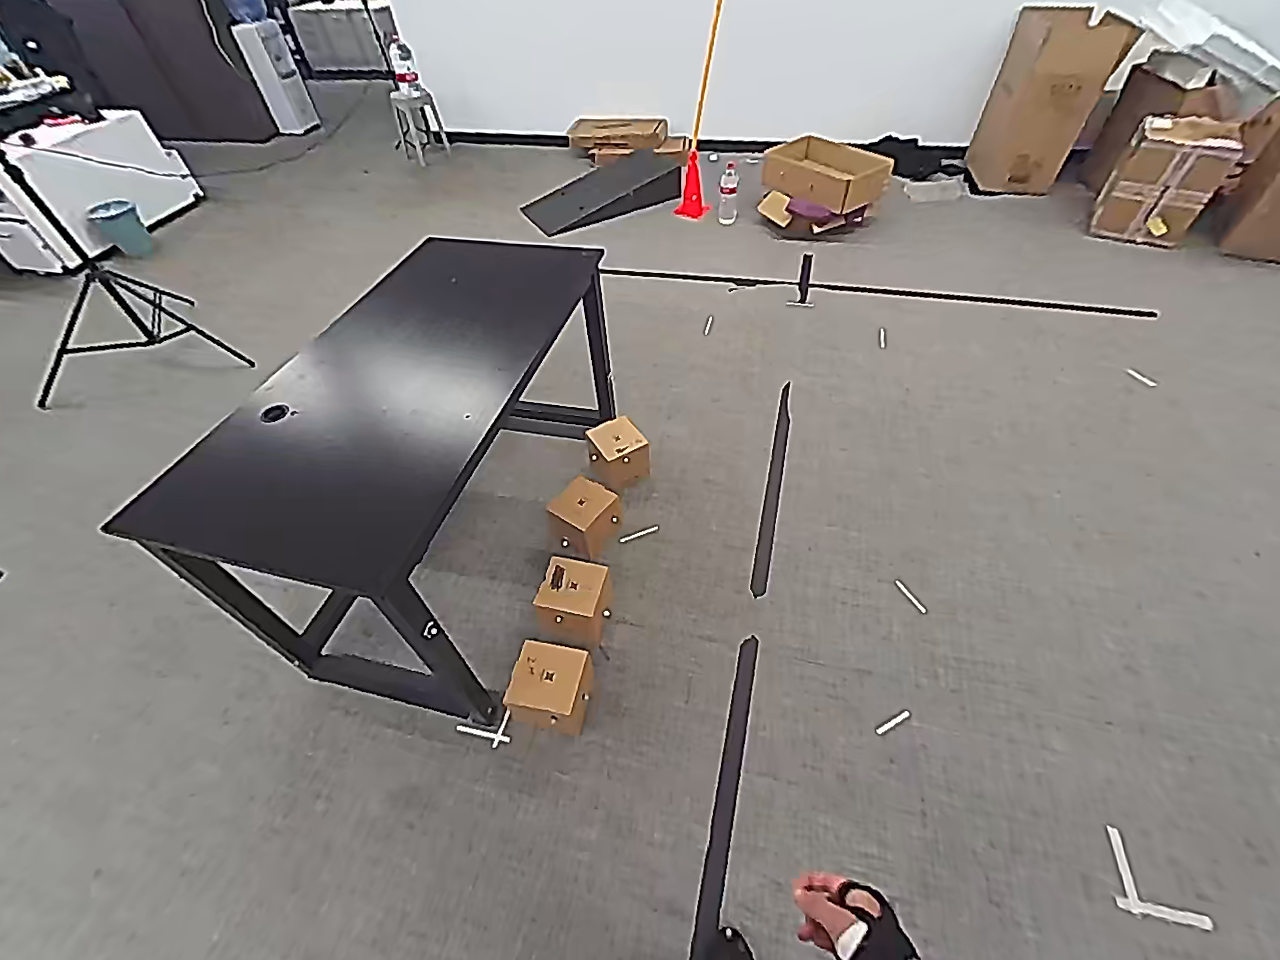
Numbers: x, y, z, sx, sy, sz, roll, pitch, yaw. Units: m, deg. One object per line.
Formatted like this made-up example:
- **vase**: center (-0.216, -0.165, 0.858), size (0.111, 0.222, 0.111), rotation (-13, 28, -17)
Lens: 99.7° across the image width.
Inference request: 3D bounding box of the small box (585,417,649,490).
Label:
- **small box**: center (-0.082, -0.095, 1.973), size (0.168, 0.176, 0.179), rotation (-27, 52, -18)

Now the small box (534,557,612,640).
- **small box**: center (-0.190, 0.352, 1.590), size (0.179, 0.176, 0.168), rotation (9, 50, 10)

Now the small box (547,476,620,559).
- **small box**: center (-0.180, 0.126, 1.790), size (0.168, 0.176, 0.179), rotation (26, 56, 25)
